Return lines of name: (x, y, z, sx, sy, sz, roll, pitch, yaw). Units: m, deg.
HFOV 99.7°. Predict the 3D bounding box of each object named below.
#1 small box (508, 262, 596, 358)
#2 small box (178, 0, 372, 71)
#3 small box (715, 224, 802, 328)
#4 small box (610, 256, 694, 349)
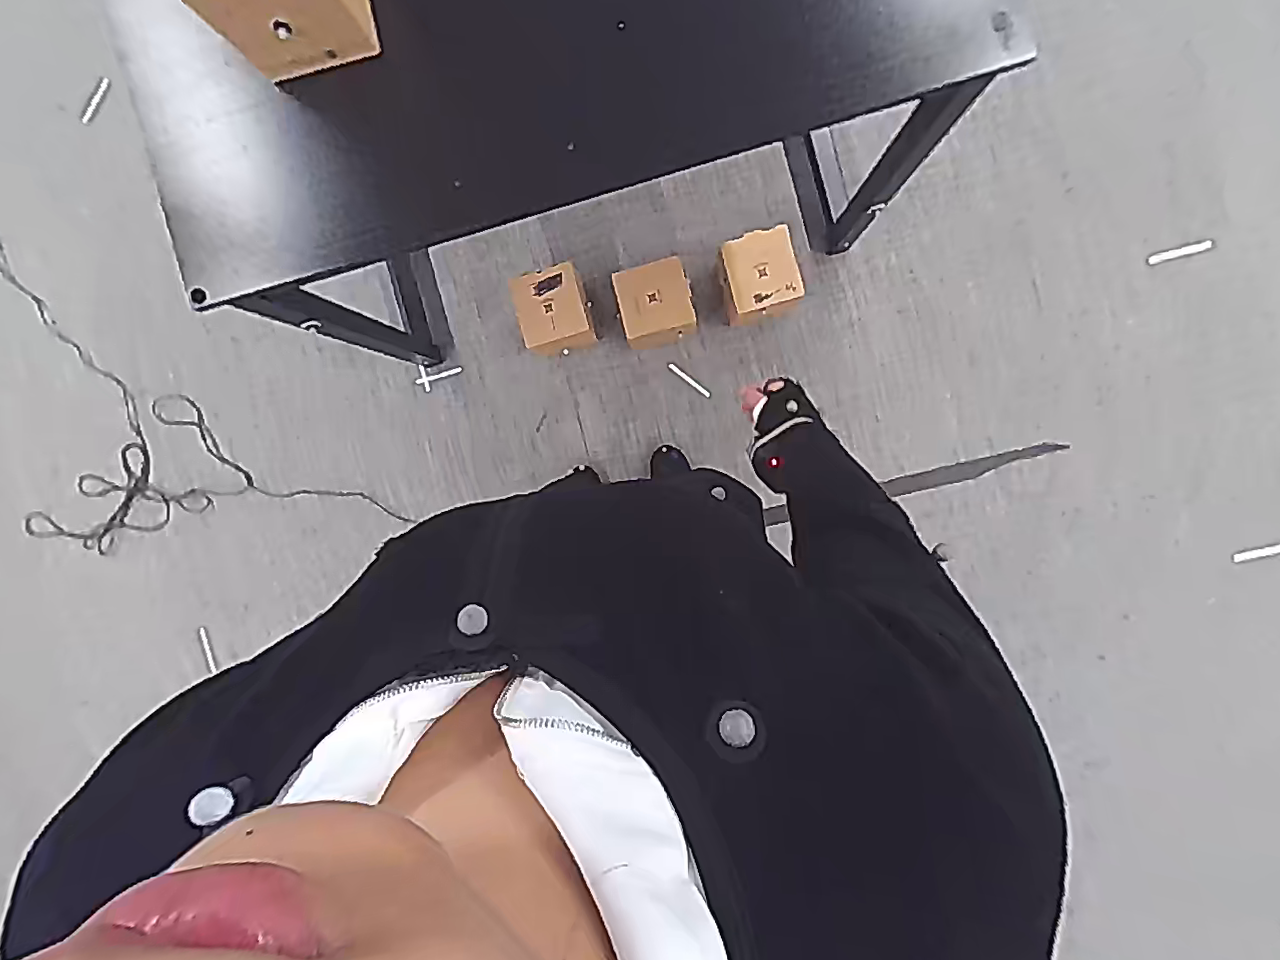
small box: (-0.222, -0.433, 1.402, 0.168, 0.176, 0.179, -15, 93, 5)
small box: (-0.466, -0.655, 0.673, 0.168, 0.176, 0.179, -12, 92, 4)
small box: (0.290, -0.506, 1.362, 0.168, 0.176, 0.179, -15, 92, 5)
small box: (0.035, -0.446, 1.385, 0.179, 0.176, 0.168, -14, 92, 6)
